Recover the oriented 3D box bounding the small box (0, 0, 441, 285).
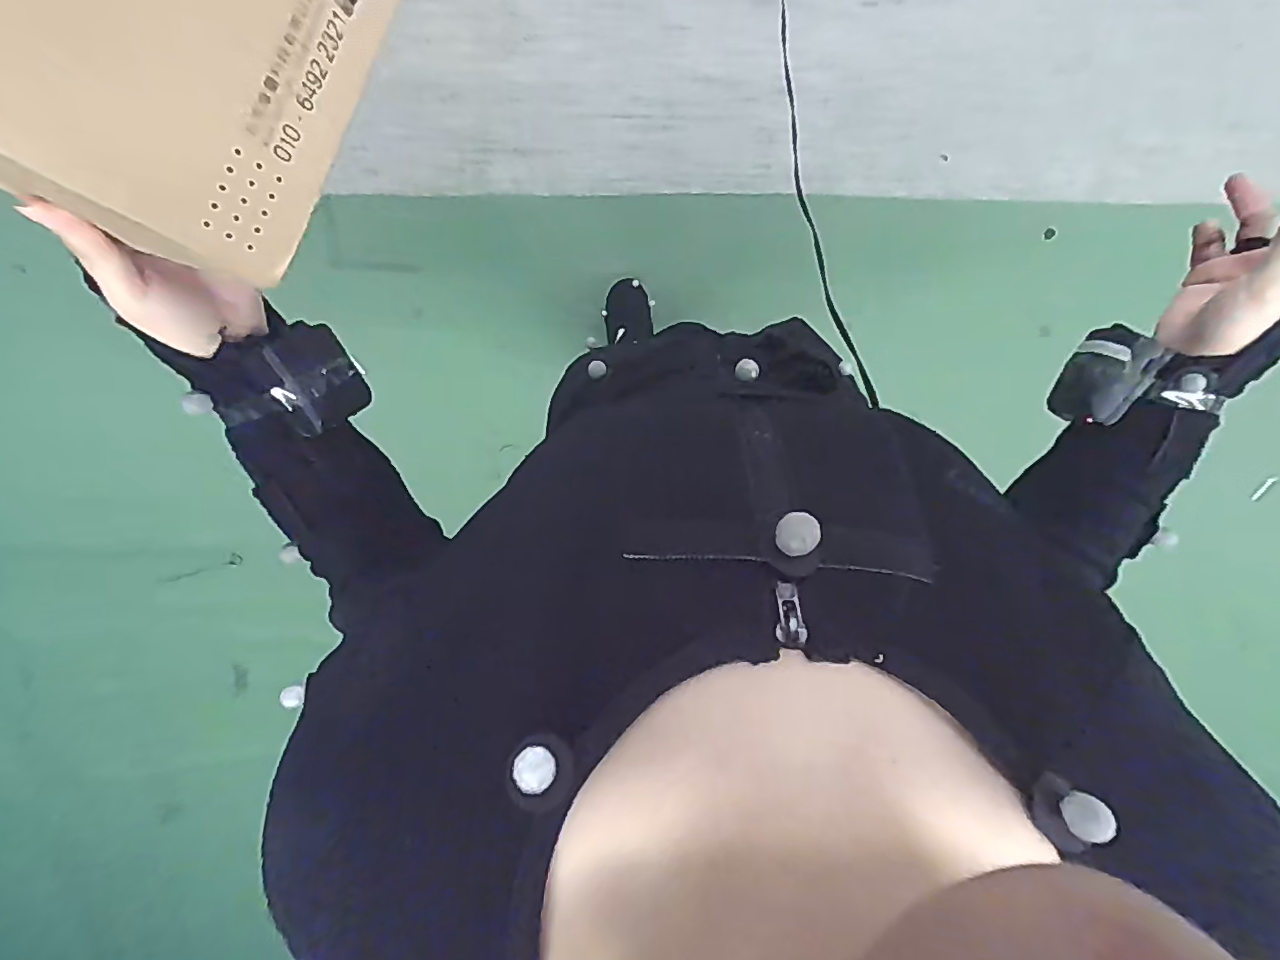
[{"bbox_3d":[-0.200,-0.185,0.181,0.179,0.176,0.168,20,89,30],"label":"small box"}]
